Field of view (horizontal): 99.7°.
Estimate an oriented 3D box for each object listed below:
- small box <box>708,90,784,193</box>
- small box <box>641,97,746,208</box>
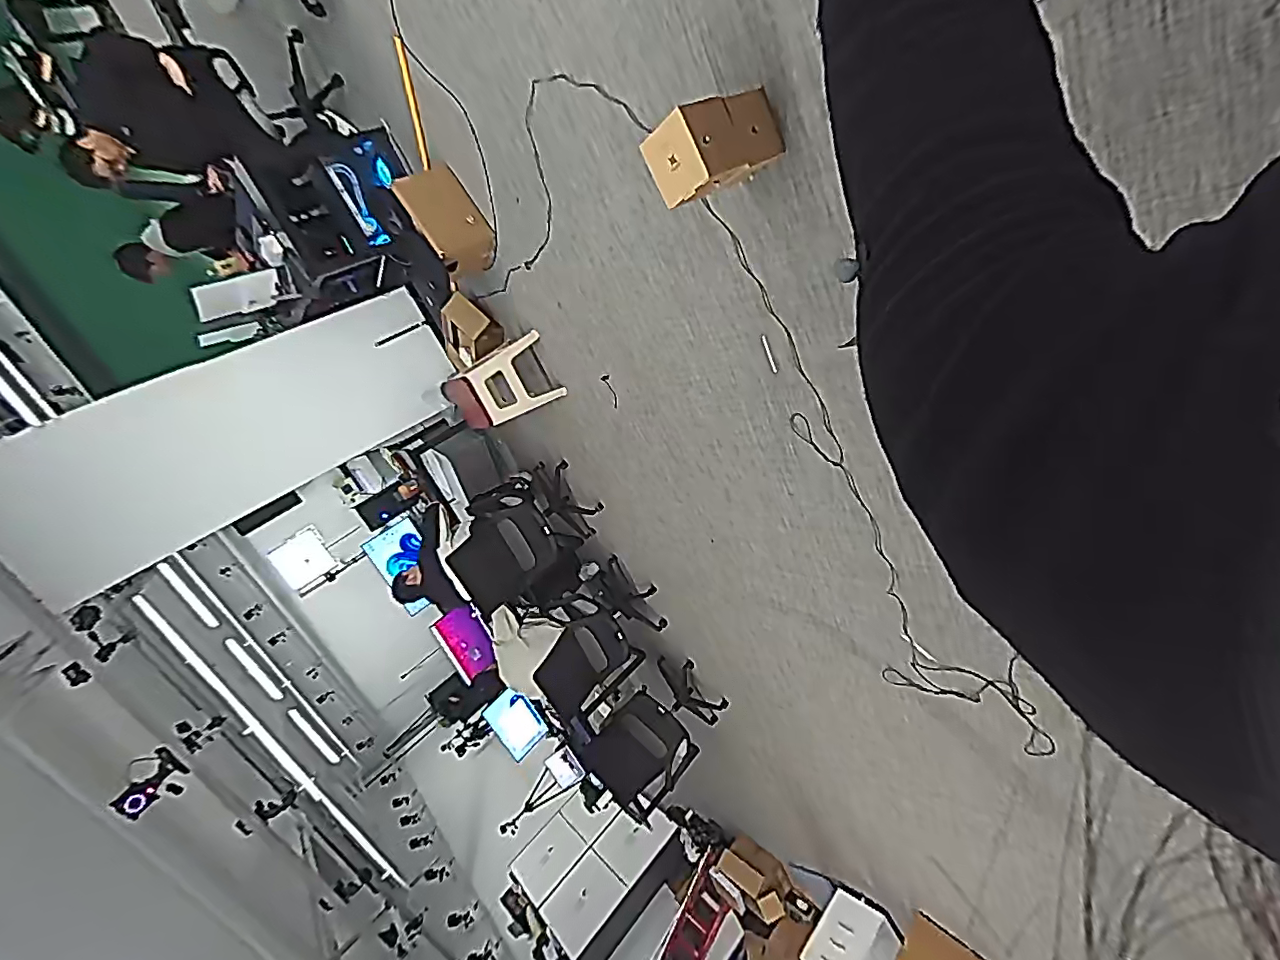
[{"bbox_3d":[0.258,-0.922,1.469,0.168,0.176,0.179,-3,121,55],"label":"small box"},{"bbox_3d":[0.142,-0.841,1.388,0.168,0.176,0.179,-9,114,56],"label":"small box"}]
